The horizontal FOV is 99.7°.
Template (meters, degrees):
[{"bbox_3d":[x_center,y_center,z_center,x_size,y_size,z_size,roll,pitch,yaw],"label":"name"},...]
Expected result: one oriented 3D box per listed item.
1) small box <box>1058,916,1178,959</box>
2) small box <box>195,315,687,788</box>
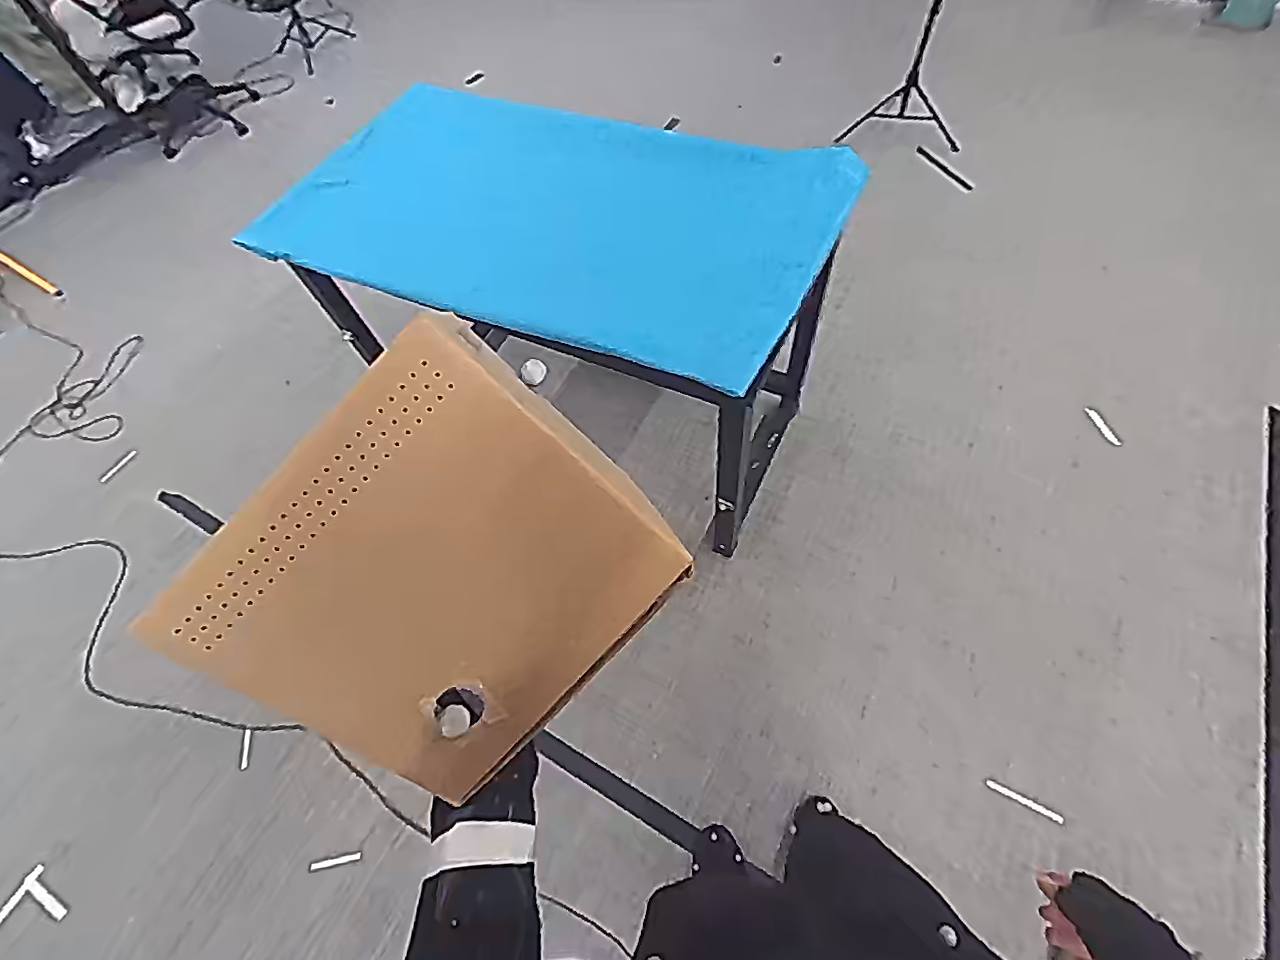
[{"bbox_3d":[0.873,0.921,0.957,0.168,0.176,0.179,18,65,16],"label":"small box"},{"bbox_3d":[-0.109,0.027,0.322,0.179,0.176,0.168,-47,22,2],"label":"small box"}]
